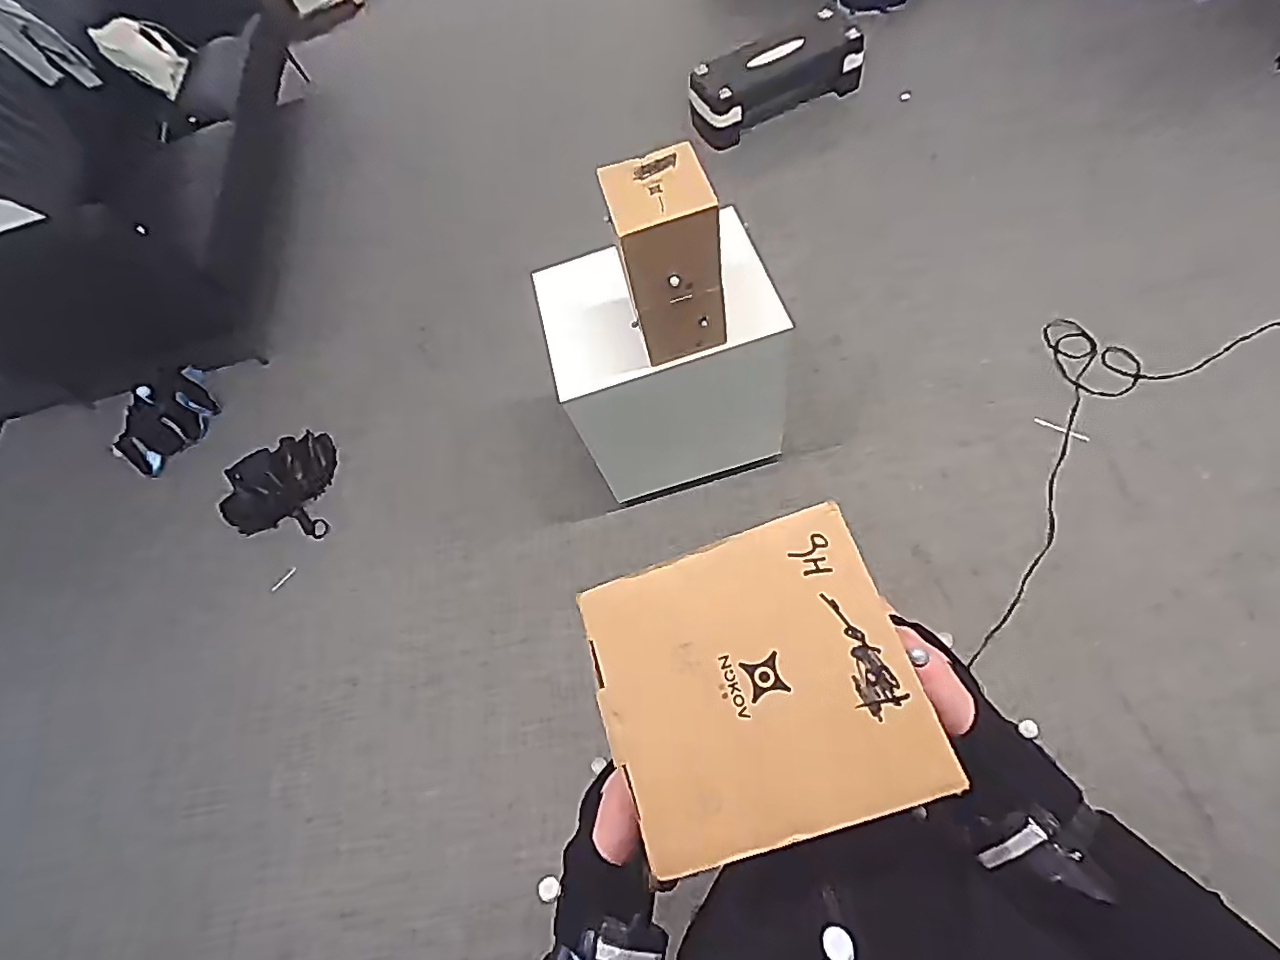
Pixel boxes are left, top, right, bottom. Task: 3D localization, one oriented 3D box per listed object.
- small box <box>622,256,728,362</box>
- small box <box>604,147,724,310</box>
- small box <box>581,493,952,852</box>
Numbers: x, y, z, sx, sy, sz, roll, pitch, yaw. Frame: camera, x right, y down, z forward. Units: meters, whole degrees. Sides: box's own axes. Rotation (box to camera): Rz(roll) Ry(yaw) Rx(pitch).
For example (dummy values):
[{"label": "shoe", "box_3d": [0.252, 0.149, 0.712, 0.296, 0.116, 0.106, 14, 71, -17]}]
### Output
[{"label": "small box", "box_3d": [0.075, -0.363, 1.097, 0.168, 0.176, 0.179, -17, 61, 2]}, {"label": "small box", "box_3d": [0.046, -0.436, 0.952, 0.168, 0.176, 0.179, -16, 63, 3]}, {"label": "small box", "box_3d": [0.082, 0.132, 0.393, 0.179, 0.176, 0.168, -21, 70, 7]}]
